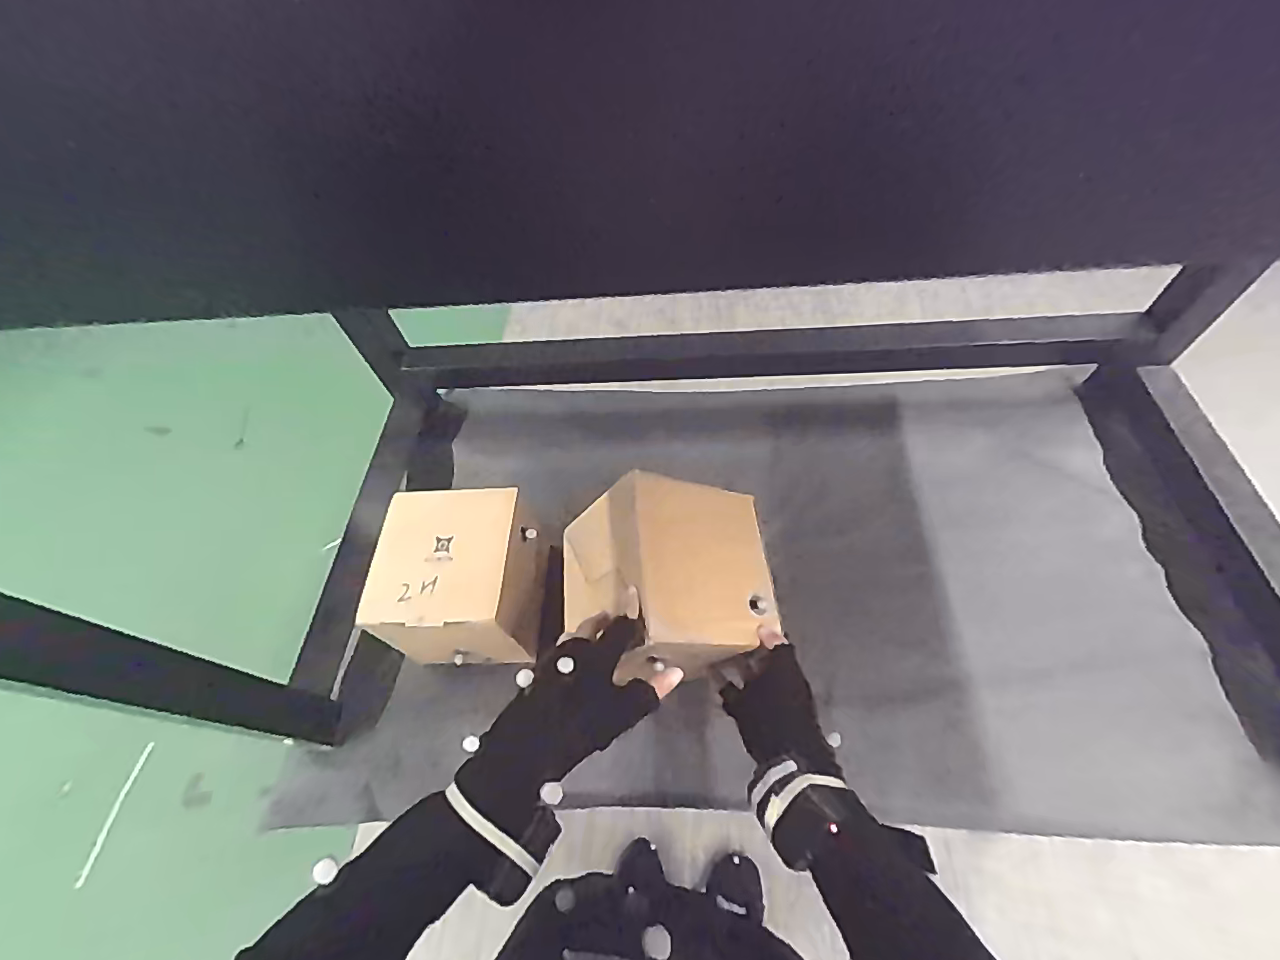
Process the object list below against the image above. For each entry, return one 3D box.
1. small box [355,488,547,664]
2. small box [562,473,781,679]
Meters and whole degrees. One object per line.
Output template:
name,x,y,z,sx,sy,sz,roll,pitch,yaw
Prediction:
small box,-0.226,0.128,0.705,0.168,0.176,0.179,-2,56,6
small box,0.022,0.112,0.595,0.176,0.168,0.179,14,55,-30
